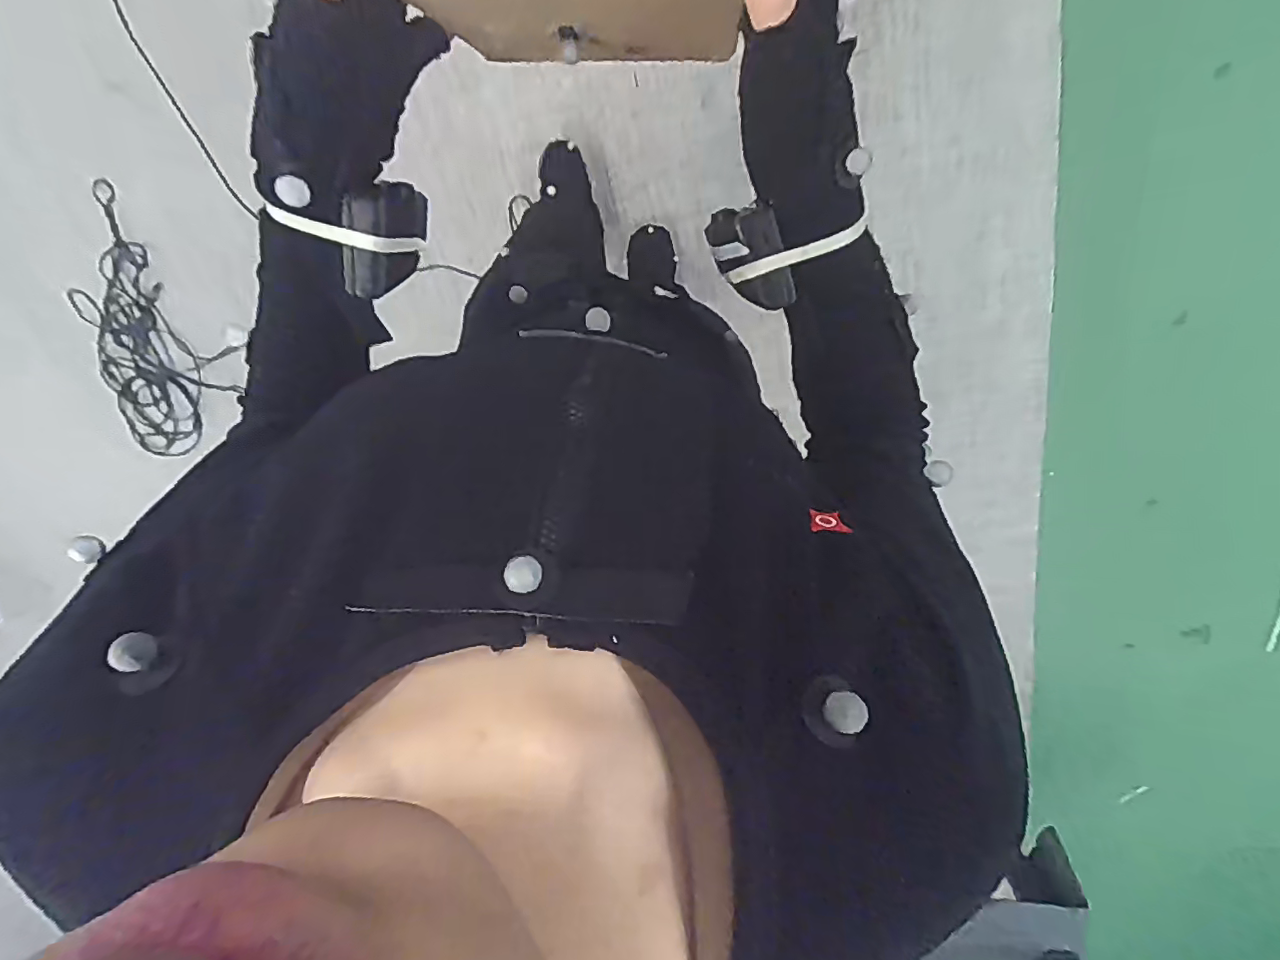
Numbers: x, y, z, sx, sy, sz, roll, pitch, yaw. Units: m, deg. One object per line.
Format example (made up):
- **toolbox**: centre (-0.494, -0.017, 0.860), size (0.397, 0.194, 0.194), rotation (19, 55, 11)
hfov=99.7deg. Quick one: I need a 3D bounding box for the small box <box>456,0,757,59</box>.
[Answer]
- **small box**: centre (-0.021, -0.317, 0.240), size (0.168, 0.176, 0.179), rotation (3, 117, 4)
